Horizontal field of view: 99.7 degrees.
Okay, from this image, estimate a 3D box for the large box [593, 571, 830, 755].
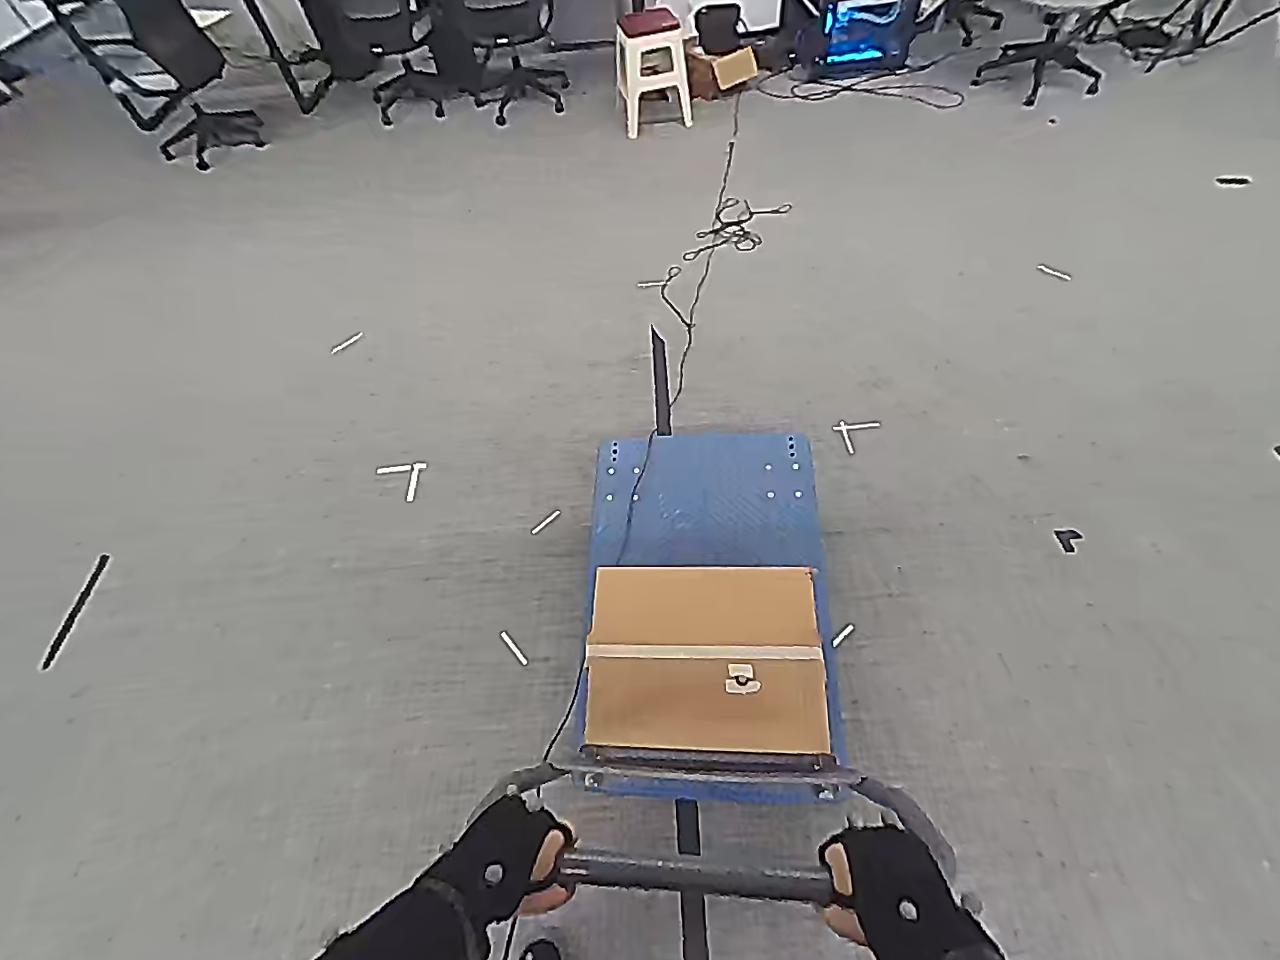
[{"bbox_3d":[0.133,0.381,1.100,0.408,0.320,0.320,-1,64,7],"label":"large box"}]
